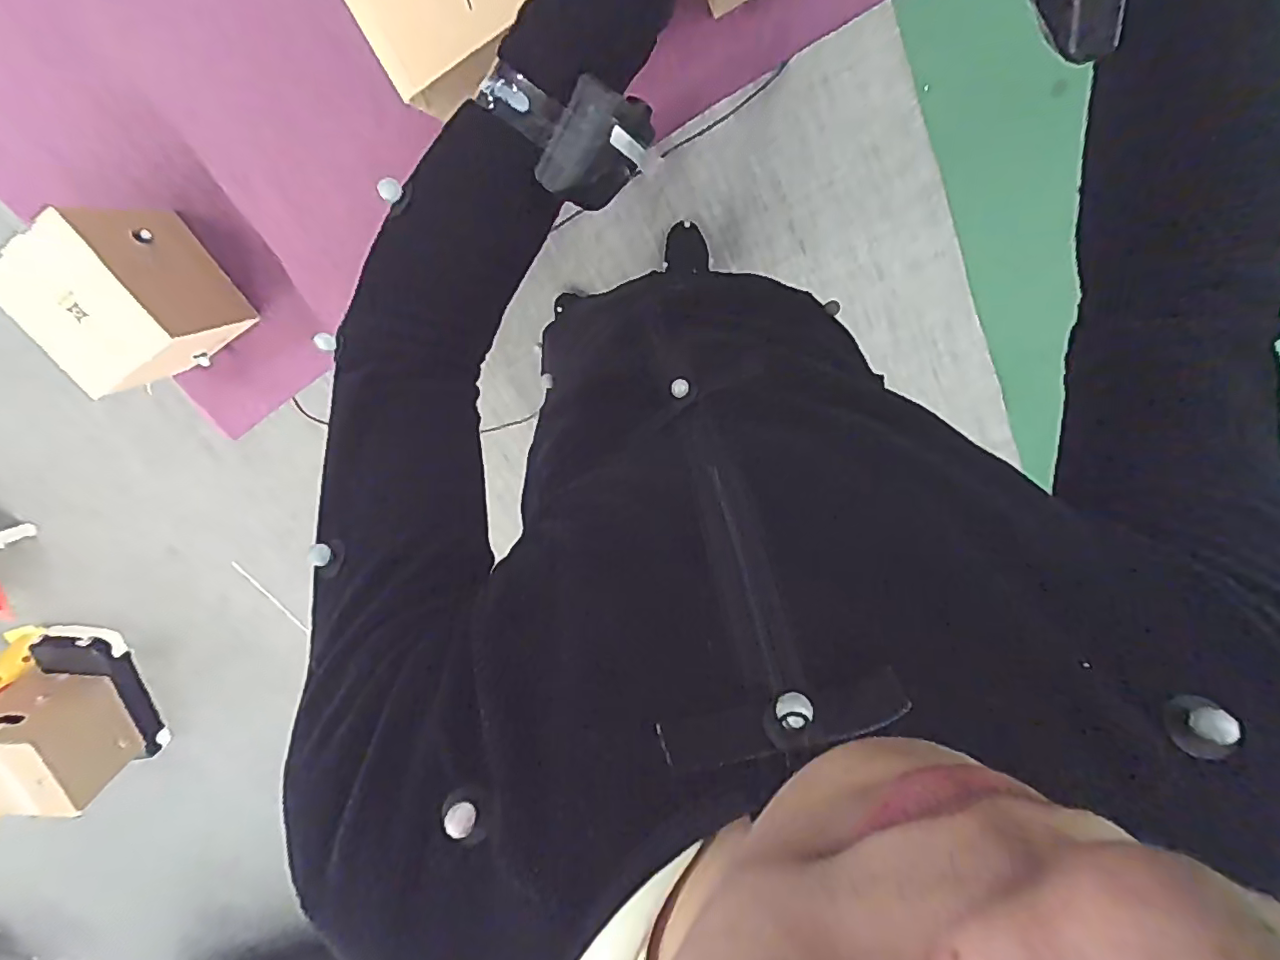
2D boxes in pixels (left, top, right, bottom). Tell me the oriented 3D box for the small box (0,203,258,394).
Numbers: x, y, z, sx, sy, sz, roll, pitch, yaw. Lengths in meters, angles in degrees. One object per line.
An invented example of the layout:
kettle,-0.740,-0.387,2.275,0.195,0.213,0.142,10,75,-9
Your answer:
small box,-0.688,-0.247,0.736,0.168,0.176,0.179,-26,112,15

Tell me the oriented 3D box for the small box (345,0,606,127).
small box,-0.142,-0.424,0.435,0.168,0.176,0.179,-23,112,14

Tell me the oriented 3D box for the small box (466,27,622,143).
small box,-0.132,-0.494,0.584,0.168,0.176,0.179,-24,111,15
